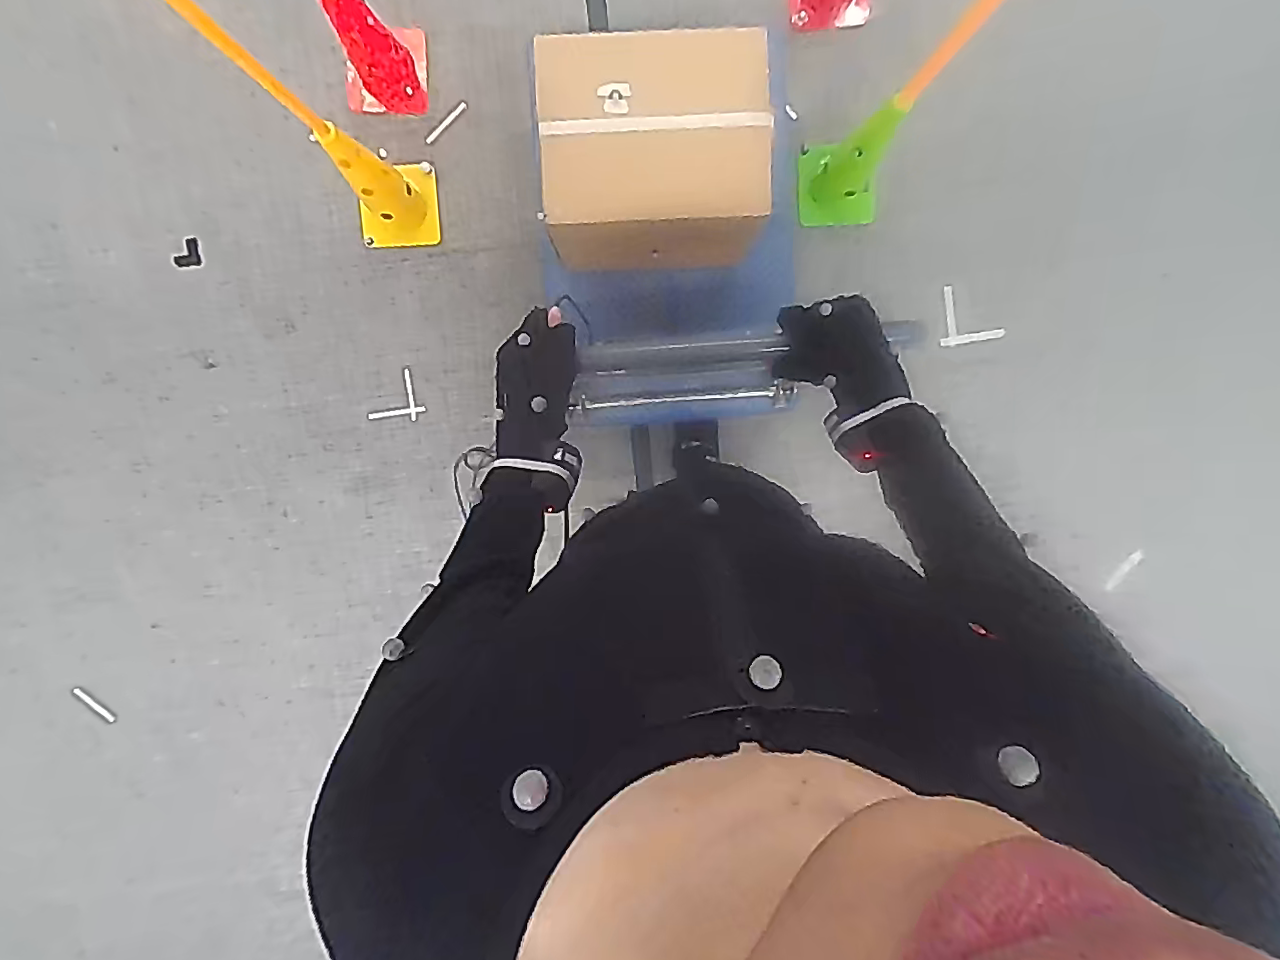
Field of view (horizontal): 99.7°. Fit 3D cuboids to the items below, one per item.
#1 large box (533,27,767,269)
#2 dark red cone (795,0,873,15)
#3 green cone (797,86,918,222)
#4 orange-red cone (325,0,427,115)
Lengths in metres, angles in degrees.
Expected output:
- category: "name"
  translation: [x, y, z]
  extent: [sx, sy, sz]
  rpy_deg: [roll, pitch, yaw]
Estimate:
- category: "large box"
  translation: [0.022, -0.633, 1.095]
  extent: [0.408, 0.320, 0.320]
  rpy_deg: [-3, 95, 1]
- category: "dark red cone"
  translation: [0.478, -1.240, 1.170]
  extent: [0.201, 0.394, 0.202]
  rpy_deg: [-7, 96, -2]
- category: "green cone"
  translation: [0.514, -0.760, 1.231]
  extent: [0.202, 0.368, 0.200]
  rpy_deg: [-3, 95, -1]
- category: "orange-red cone"
  translation: [-0.635, -1.022, 1.199]
  extent: [0.198, 0.360, 0.199]
  rpy_deg: [1, 94, -2]
